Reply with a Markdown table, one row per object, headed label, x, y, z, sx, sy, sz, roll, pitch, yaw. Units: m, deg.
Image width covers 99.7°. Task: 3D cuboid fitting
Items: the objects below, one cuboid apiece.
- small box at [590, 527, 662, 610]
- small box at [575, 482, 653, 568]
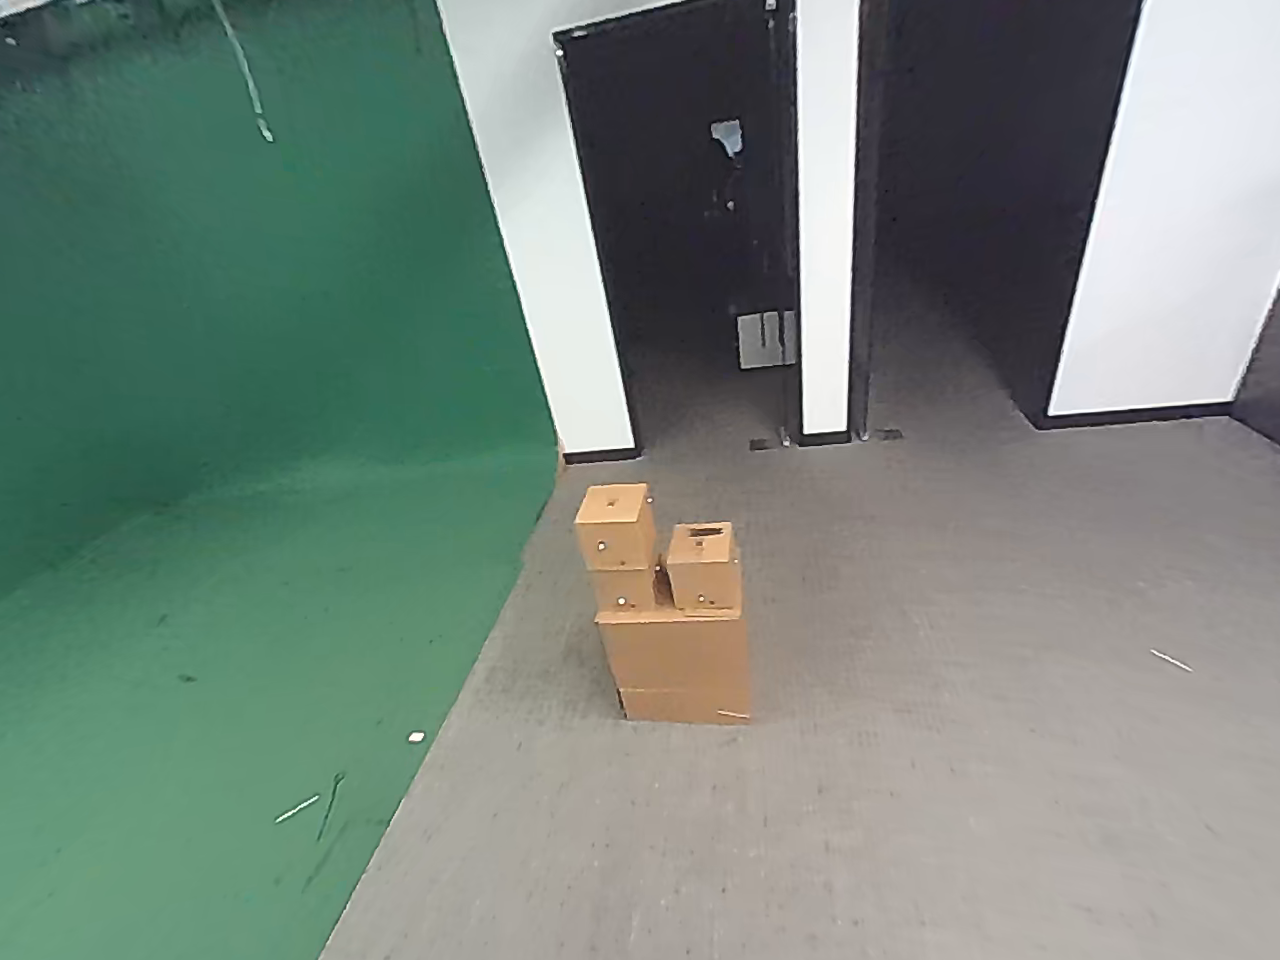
| label | x | y | z | sx | sy | sz | roll | pitch | yaw |
| --- | --- | --- | --- | --- | --- | --- | --- | --- | --- |
| small box | -0.034 | 0.255 | 1.575 | 0.168 | 0.176 | 0.179 | -2 | 34 | 13 |
| small box | -0.063 | 0.126 | 1.479 | 0.168 | 0.176 | 0.179 | -3 | 33 | 12 |
